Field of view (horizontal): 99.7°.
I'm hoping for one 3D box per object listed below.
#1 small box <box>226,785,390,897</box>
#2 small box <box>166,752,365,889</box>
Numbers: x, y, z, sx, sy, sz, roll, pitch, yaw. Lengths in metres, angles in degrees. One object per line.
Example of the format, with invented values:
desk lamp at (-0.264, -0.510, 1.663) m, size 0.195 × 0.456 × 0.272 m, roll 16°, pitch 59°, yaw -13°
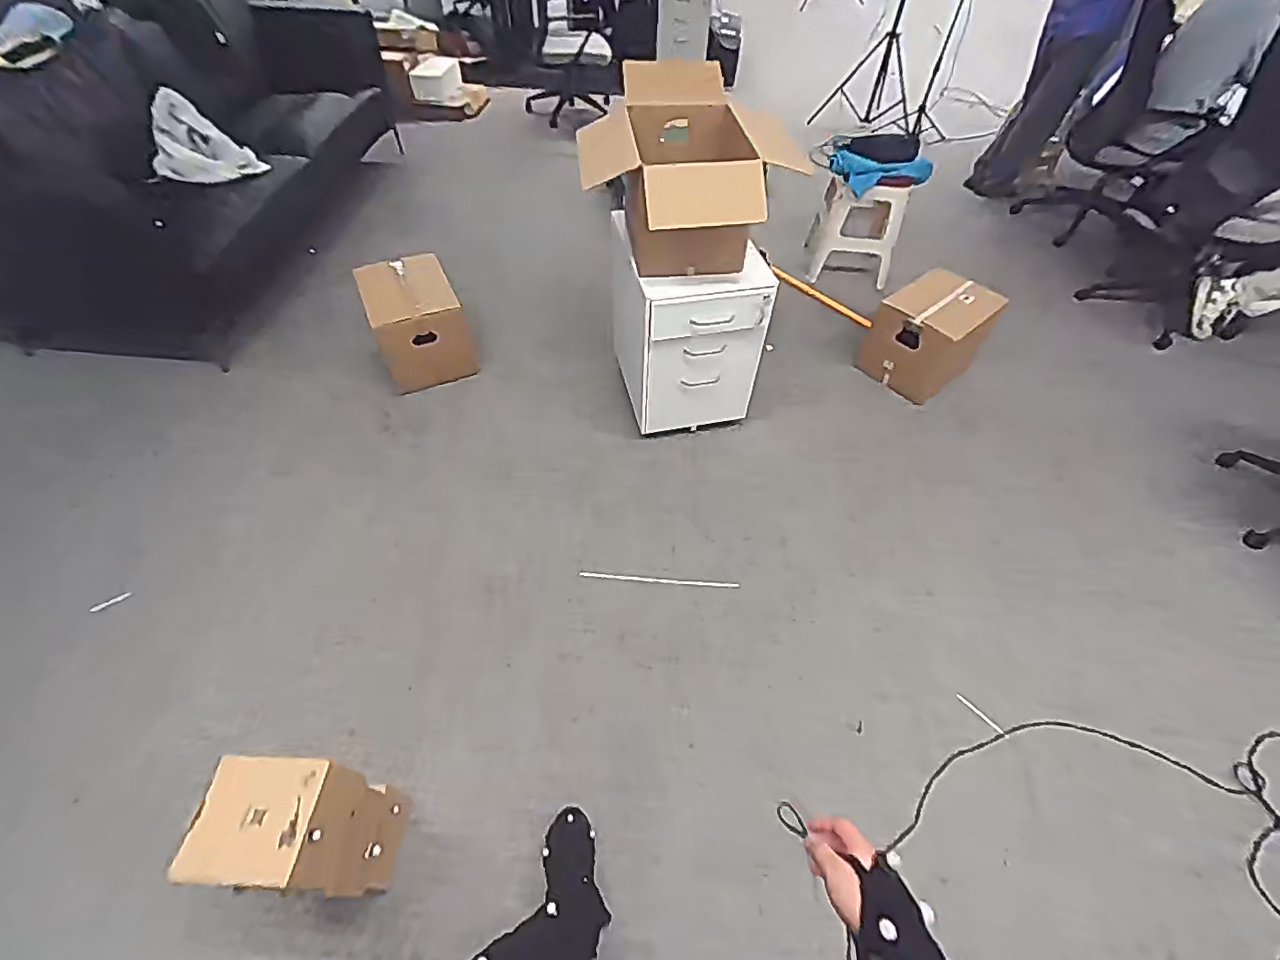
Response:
small box at (-0.600, 0.665, 1.004) m, size 0.179 × 0.176 × 0.168 m, roll 4°, pitch 52°, yaw 0°
small box at (-0.589, 0.557, 0.881) m, size 0.179 × 0.176 × 0.168 m, roll 3°, pitch 52°, yaw 1°
